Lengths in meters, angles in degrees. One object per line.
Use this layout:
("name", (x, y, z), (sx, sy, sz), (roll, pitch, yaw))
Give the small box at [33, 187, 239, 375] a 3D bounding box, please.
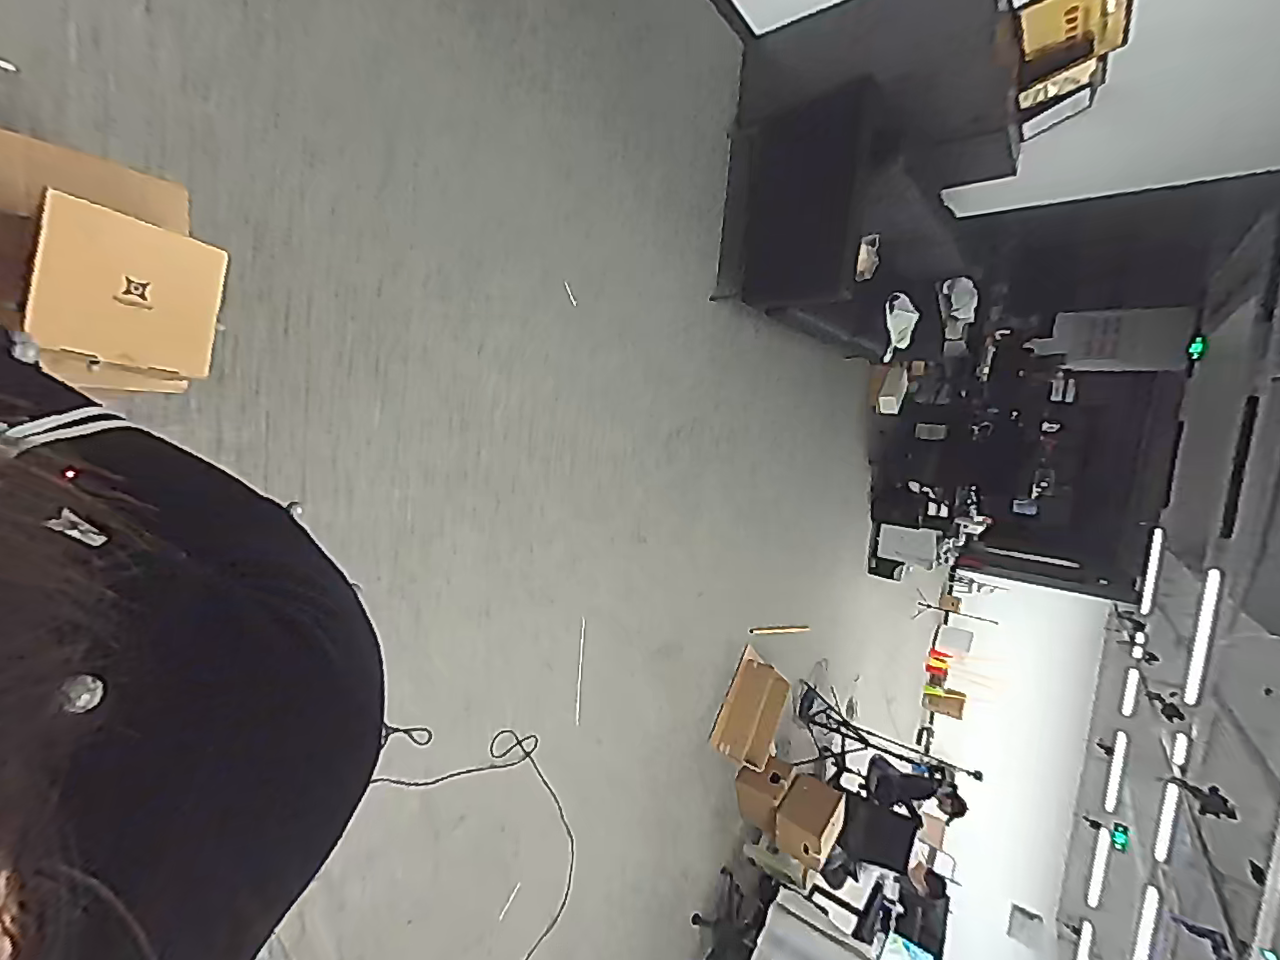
("small box", (-0.658, -0.242, 0.706), (0.168, 0.176, 0.179), (8, 91, -51))
